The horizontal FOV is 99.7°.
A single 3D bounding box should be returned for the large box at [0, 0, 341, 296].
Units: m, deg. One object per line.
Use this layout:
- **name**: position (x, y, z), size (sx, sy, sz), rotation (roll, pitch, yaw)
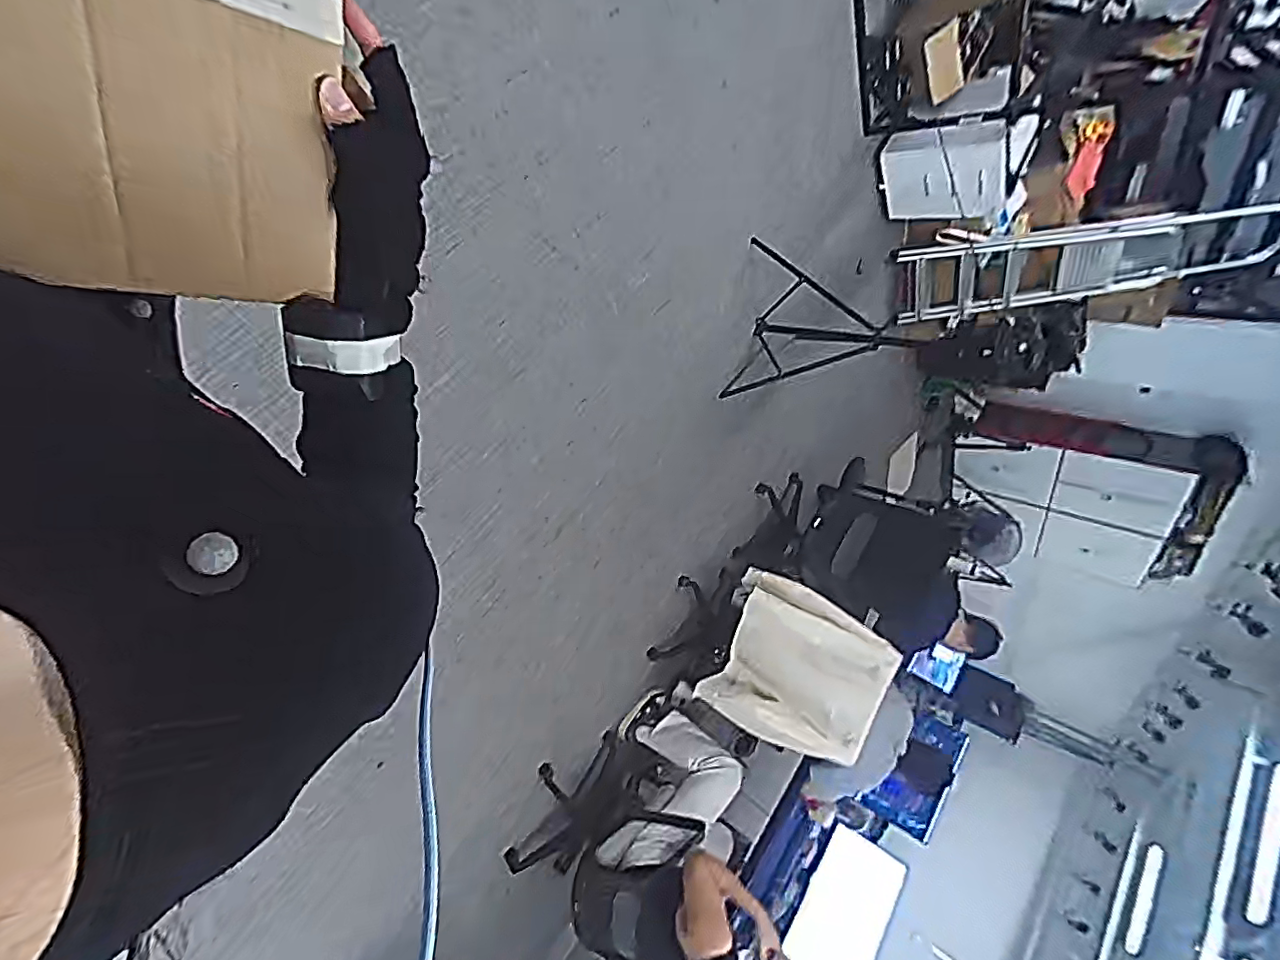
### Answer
- **large box**: position (-0.402, -0.309, 0.254), size (0.408, 0.320, 0.320), rotation (-10, 134, -41)
